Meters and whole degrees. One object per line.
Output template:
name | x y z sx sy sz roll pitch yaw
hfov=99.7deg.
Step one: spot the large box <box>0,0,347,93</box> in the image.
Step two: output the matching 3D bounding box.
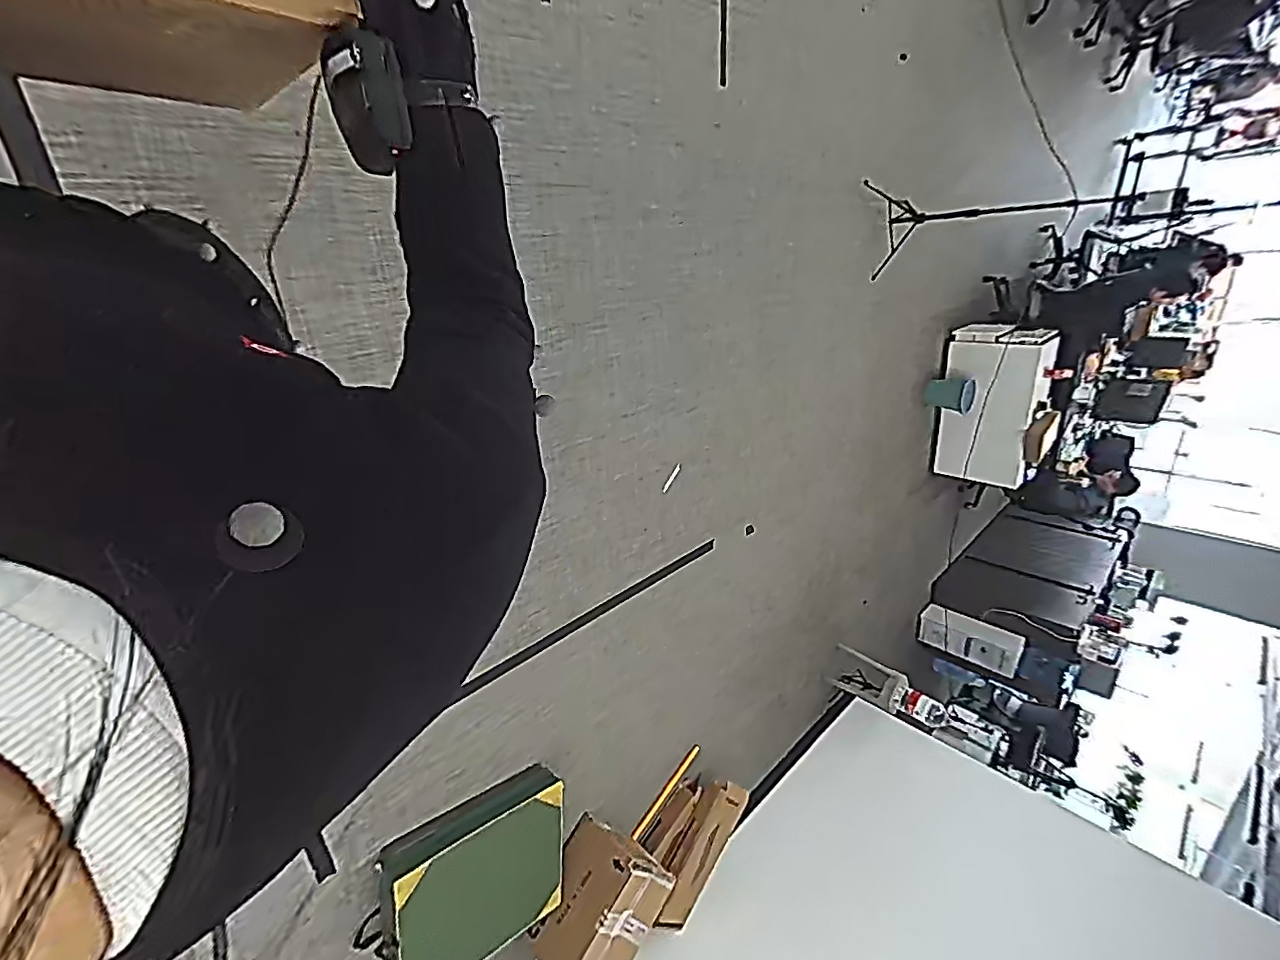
large box | -0.422 -0.410 0.240 0.408 0.320 0.320 -21 123 -39
